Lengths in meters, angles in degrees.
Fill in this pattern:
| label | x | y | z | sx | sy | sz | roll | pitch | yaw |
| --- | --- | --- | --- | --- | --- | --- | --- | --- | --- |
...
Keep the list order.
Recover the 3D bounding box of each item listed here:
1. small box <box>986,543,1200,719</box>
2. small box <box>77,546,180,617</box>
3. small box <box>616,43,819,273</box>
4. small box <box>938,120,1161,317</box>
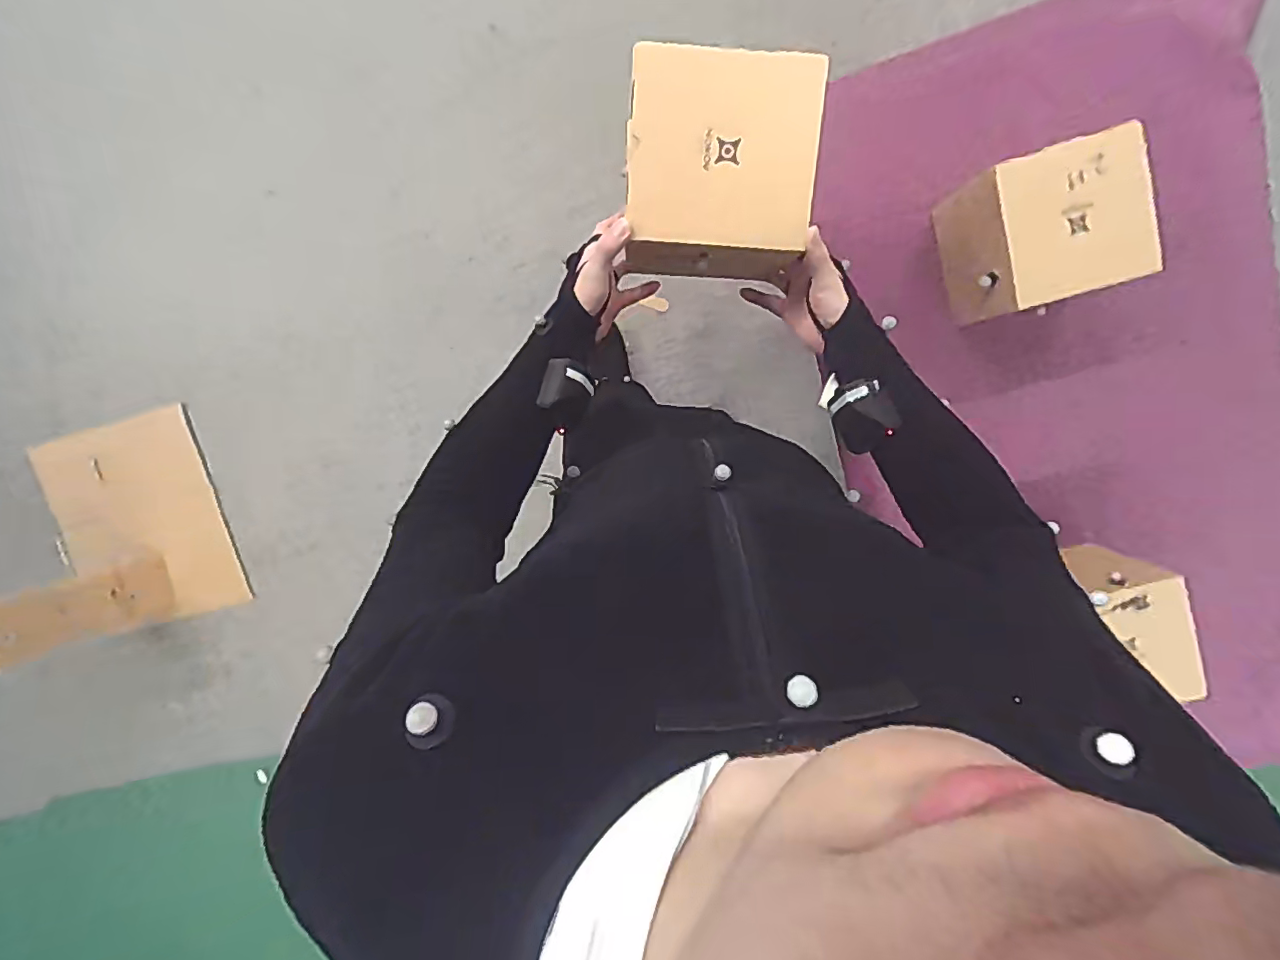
| label | x | y | z | sx | sy | sz | roll | pitch | yaw |
| --- | --- | --- | --- | --- | --- | --- | --- | --- | --- |
| small box | 0.645 | 0.211 | 0.791 | 0.168 | 0.176 | 0.179 | -16 | 97 | 8 |
| small box | -1.679 | 0.332 | 1.786 | 0.168 | 0.176 | 0.179 | -9 | 97 | 7 |
| small box | 0.071 | -0.321 | 0.575 | 0.179 | 0.176 | 0.168 | 3 | 102 | 2 |
| small box | 0.526 | -0.325 | 0.719 | 0.168 | 0.176 | 0.179 | -14 | 97 | 8 |
